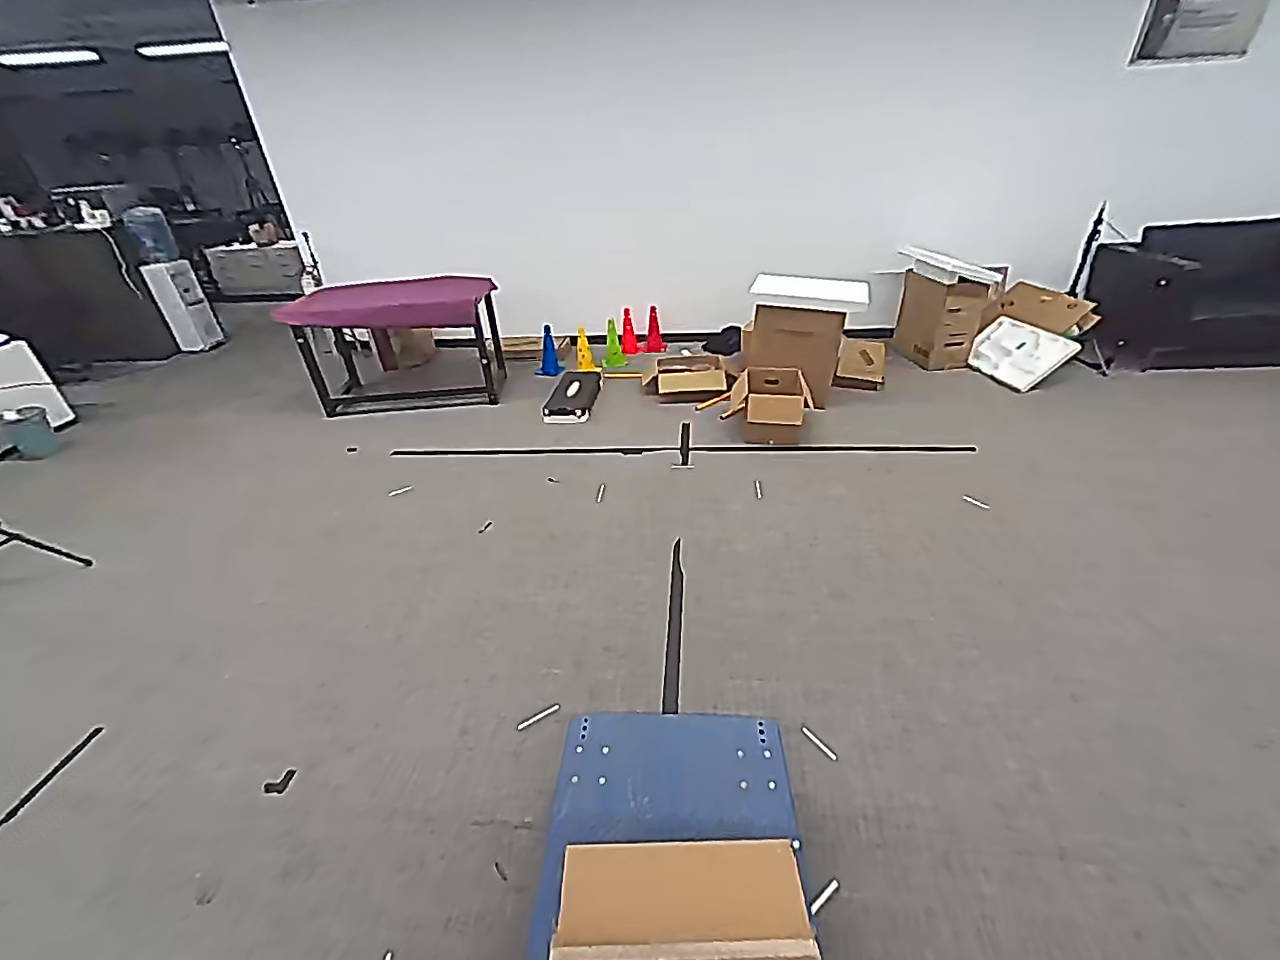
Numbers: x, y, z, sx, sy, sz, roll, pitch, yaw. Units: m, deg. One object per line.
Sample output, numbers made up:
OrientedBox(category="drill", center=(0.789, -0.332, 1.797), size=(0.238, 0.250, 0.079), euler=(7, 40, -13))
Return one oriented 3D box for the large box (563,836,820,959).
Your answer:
OrientedBox(category="large box", center=(0.080, 0.859, 0.924), size=(0.408, 0.320, 0.320), euler=(-2, 33, 0))
